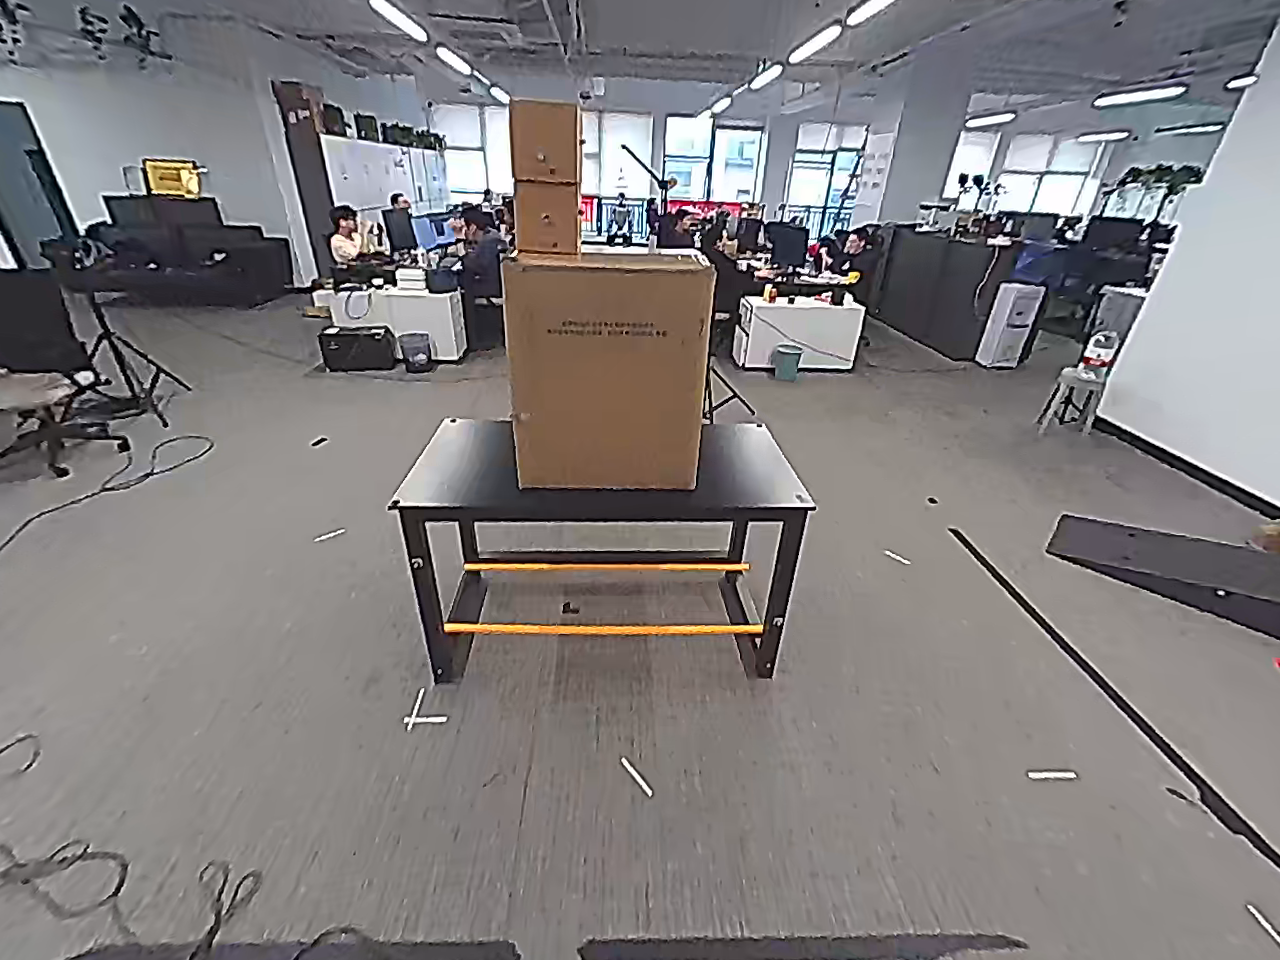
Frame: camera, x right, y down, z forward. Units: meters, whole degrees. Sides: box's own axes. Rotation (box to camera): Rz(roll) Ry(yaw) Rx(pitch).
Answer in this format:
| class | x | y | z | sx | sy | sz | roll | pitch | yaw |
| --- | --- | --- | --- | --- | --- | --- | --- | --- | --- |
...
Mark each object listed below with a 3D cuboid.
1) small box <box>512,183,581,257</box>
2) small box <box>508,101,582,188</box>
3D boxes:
| class | x | y | z | sx | sy | sz | roll | pitch | yaw |
| --- | --- | --- | --- | --- | --- | --- | --- | --- | --- |
| small box | -0.248 | -0.707 | 1.468 | 0.168 | 0.176 | 0.179 | 1 | 29 | -4 |
| small box | -0.236 | -0.844 | 1.375 | 0.168 | 0.176 | 0.179 | 1 | 29 | -3 |
